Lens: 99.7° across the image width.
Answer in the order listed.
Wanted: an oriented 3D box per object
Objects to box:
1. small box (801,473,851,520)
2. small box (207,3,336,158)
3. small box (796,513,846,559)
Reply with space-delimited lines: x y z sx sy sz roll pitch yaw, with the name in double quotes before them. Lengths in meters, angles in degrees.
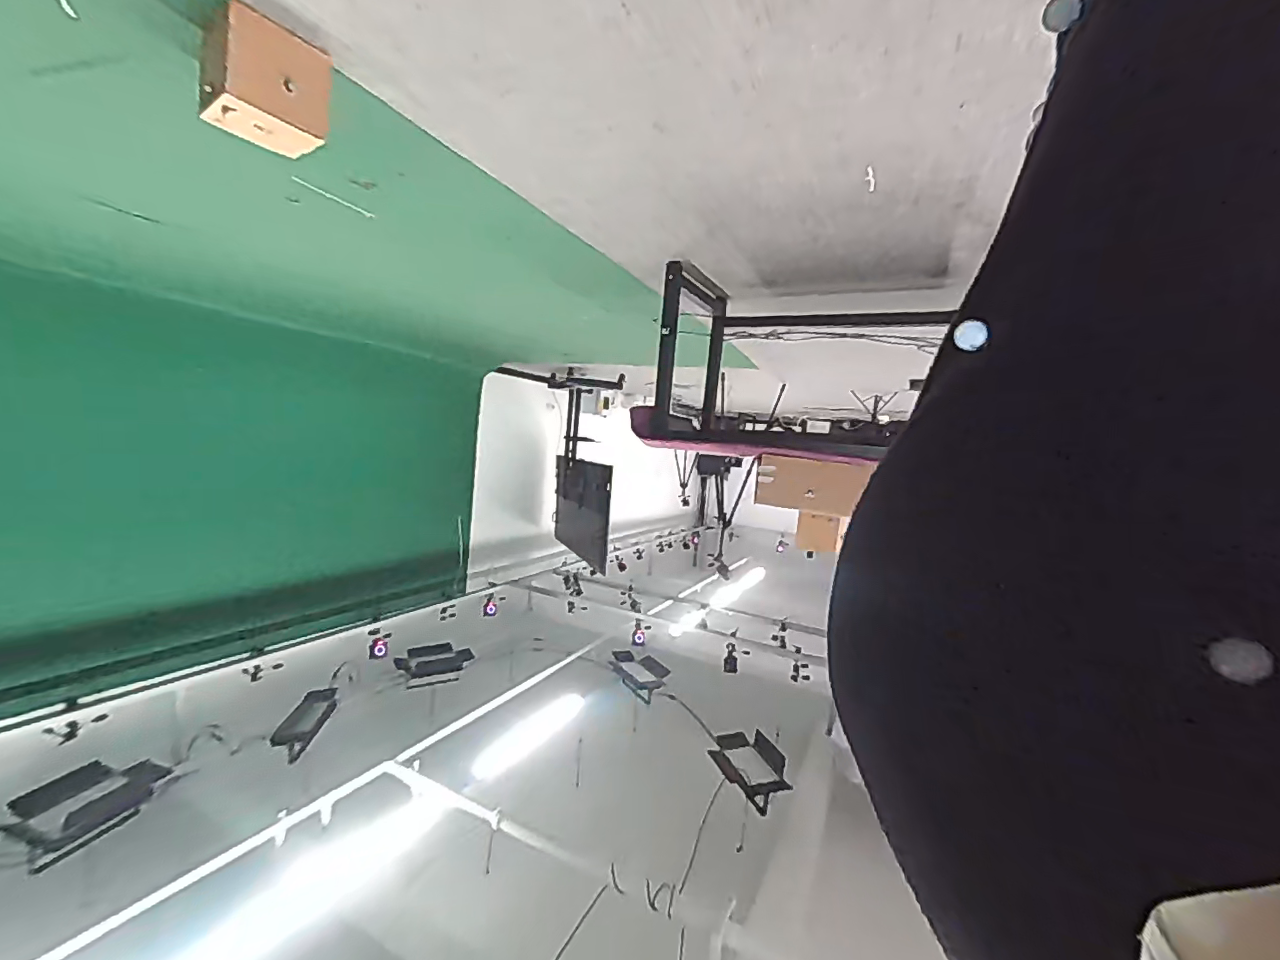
"small box" 0.781 0.065 2.260 0.168 0.176 0.179 9 -177 27
"small box" -0.737 -0.790 1.086 0.168 0.176 0.179 9 -175 37
"small box" 0.764 0.228 2.275 0.168 0.176 0.179 9 -176 27
